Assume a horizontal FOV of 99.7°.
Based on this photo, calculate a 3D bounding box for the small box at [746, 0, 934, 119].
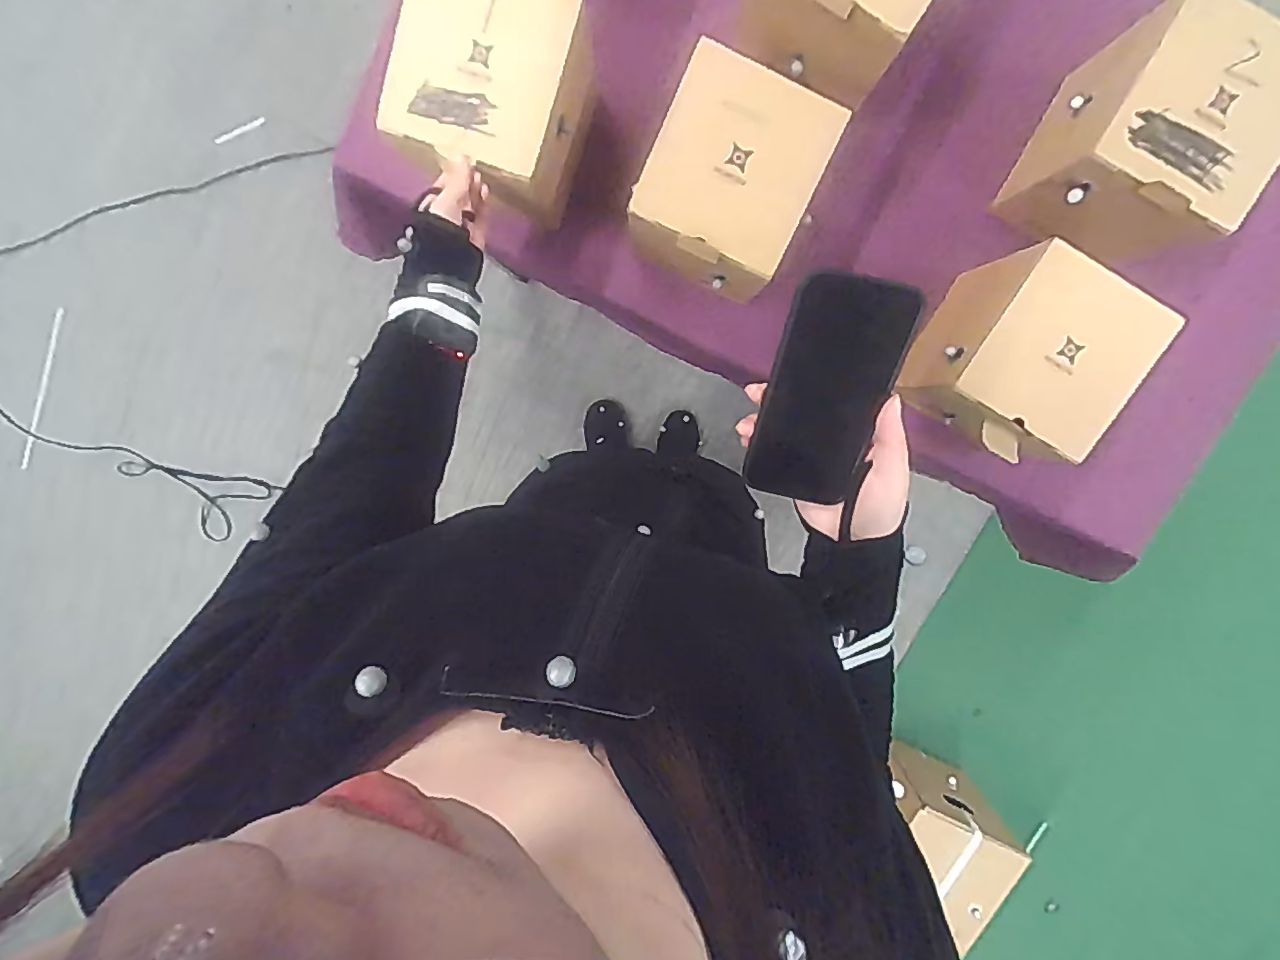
[{"bbox_3d":[0.231,-0.540,0.573,0.168,0.176,0.179,32,100,-3],"label":"small box"}]

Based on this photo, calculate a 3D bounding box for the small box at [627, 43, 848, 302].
[{"bbox_3d":[0.099,-0.324,0.616,0.168,0.176,0.179,25,99,-3],"label":"small box"}]

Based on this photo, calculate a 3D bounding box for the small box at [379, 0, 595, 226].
[{"bbox_3d":[-0.155,-0.415,0.607,0.168,0.176,0.179,19,98,-2],"label":"small box"}]

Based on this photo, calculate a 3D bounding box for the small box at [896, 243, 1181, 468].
[{"bbox_3d":[0.441,-0.139,0.635,0.168,0.176,0.179,30,100,-3],"label":"small box"}]
